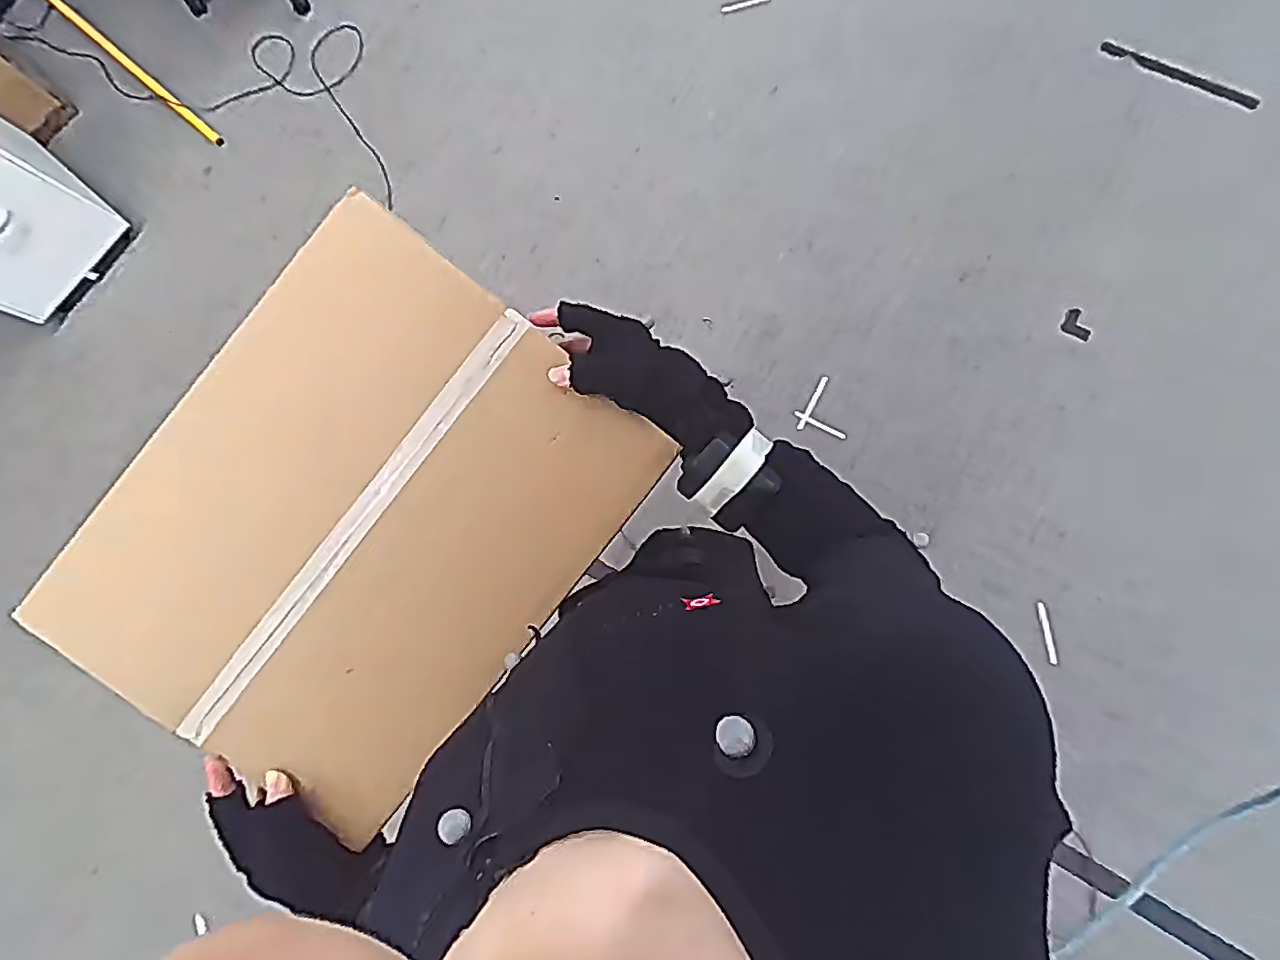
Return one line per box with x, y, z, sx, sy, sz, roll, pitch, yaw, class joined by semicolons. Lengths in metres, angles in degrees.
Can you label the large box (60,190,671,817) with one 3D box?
-0.218;0.020;0.571;0.320;0.320;0.408;38;91;-5;large box
